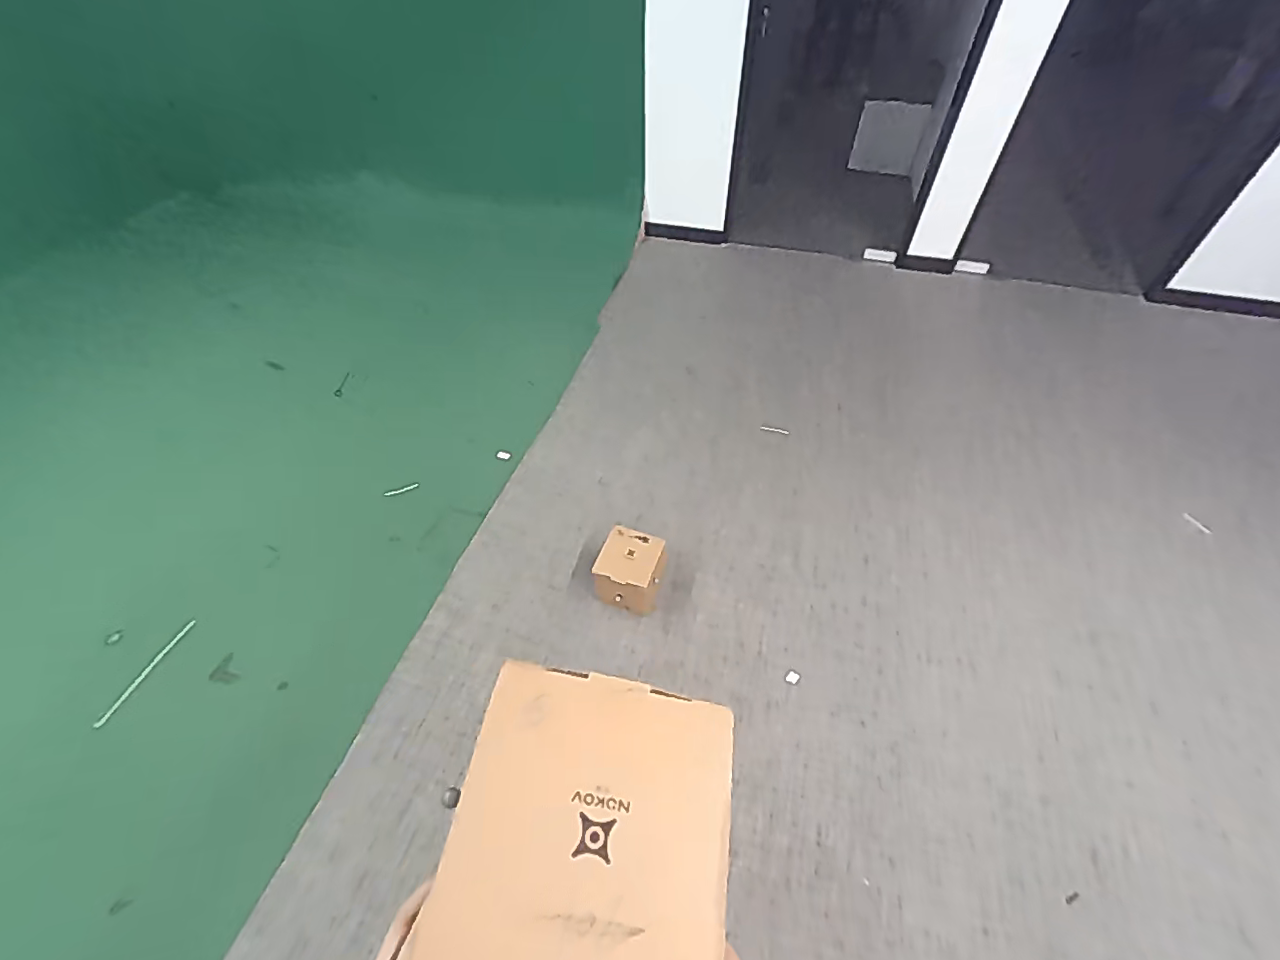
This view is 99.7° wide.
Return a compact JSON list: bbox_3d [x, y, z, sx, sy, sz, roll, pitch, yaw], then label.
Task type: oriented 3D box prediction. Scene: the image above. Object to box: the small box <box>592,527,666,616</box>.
[{"bbox_3d":[-0.026,0.273,1.594,0.168,0.176,0.179,16,52,14],"label":"small box"}]
